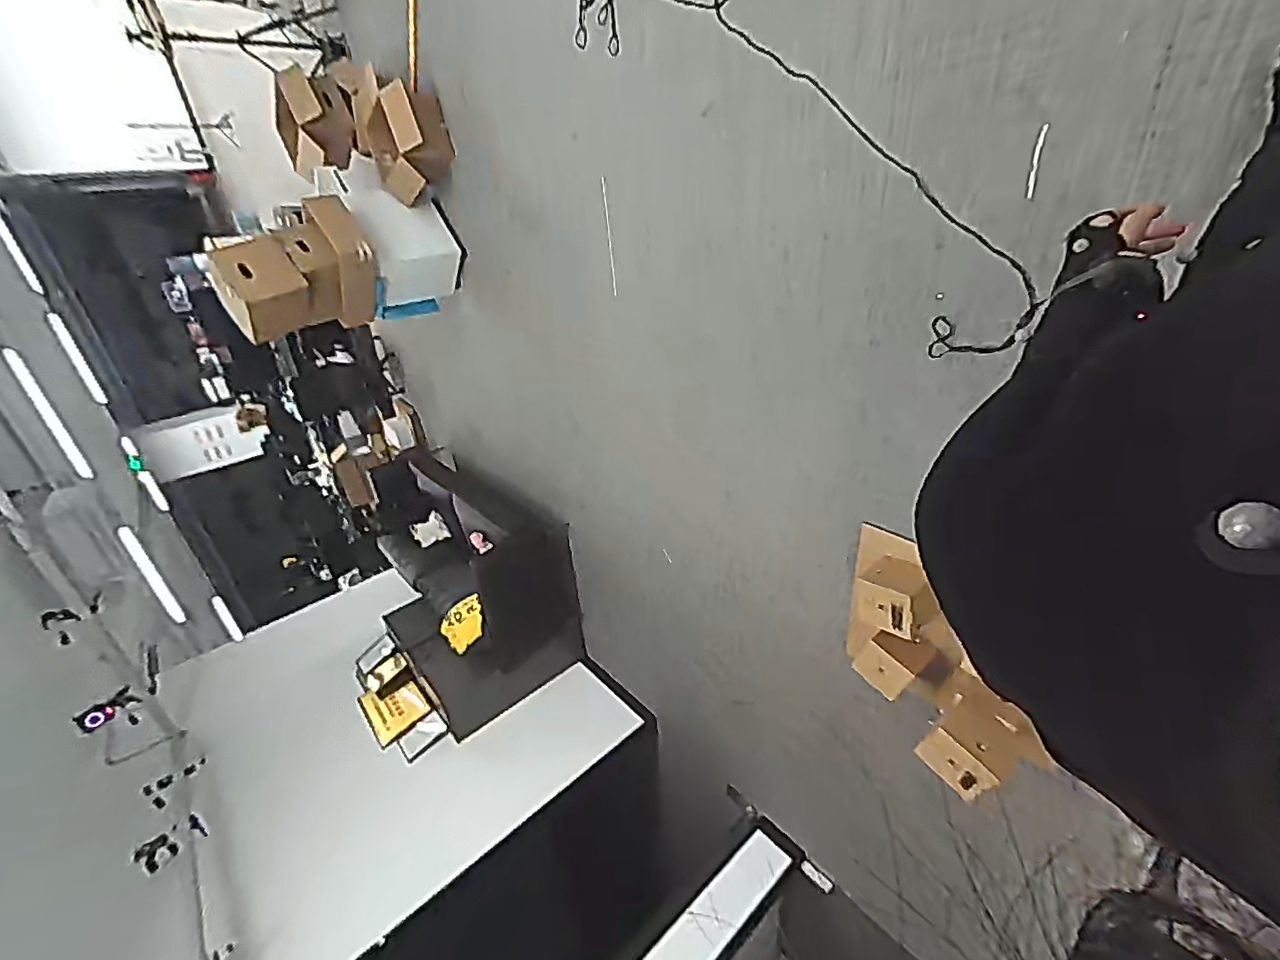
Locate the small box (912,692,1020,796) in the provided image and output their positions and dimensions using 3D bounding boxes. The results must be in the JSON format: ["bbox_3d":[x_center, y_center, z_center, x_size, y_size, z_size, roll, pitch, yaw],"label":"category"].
[{"bbox_3d":[0.926,0.744,1.535,0.179,0.176,0.168,43,142,31],"label":"small box"}]

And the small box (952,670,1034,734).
[{"bbox_3d":[1.050,0.687,1.626,0.168,0.176,0.179,27,133,43],"label":"small box"}]

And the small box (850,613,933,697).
[{"bbox_3d":[0.852,0.589,1.827,0.168,0.176,0.179,42,141,30],"label":"small box"}]
